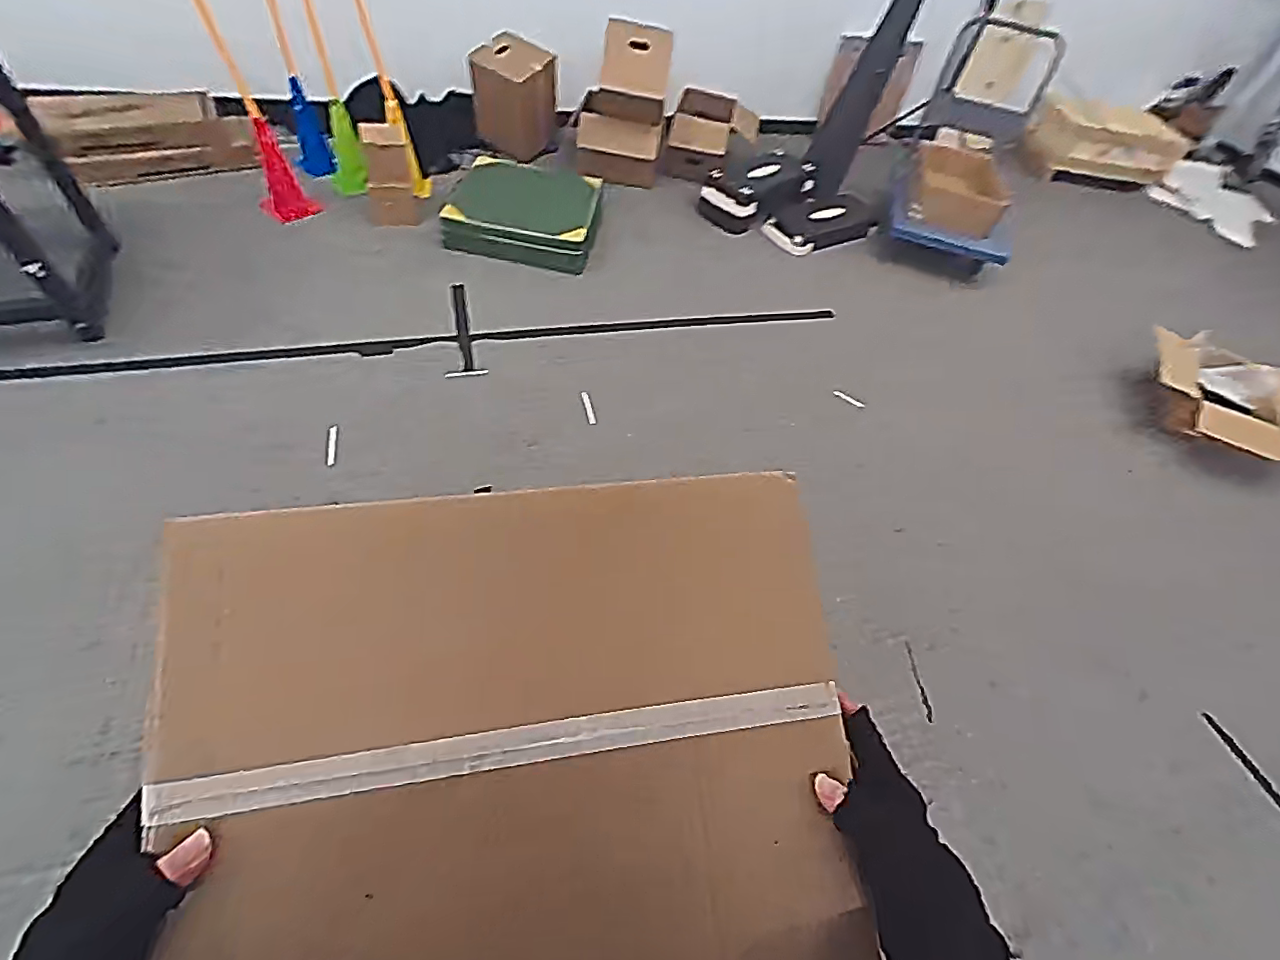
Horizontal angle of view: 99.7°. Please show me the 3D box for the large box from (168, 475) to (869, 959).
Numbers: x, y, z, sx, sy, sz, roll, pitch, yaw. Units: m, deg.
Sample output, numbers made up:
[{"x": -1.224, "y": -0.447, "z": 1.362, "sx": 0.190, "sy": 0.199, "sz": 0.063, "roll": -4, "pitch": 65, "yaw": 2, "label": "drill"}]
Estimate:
[{"x": -0.089, "y": 0.198, "z": 0.481, "sx": 0.408, "sy": 0.320, "sz": 0.320, "roll": -5, "pitch": 78, "yaw": -9, "label": "large box"}]
